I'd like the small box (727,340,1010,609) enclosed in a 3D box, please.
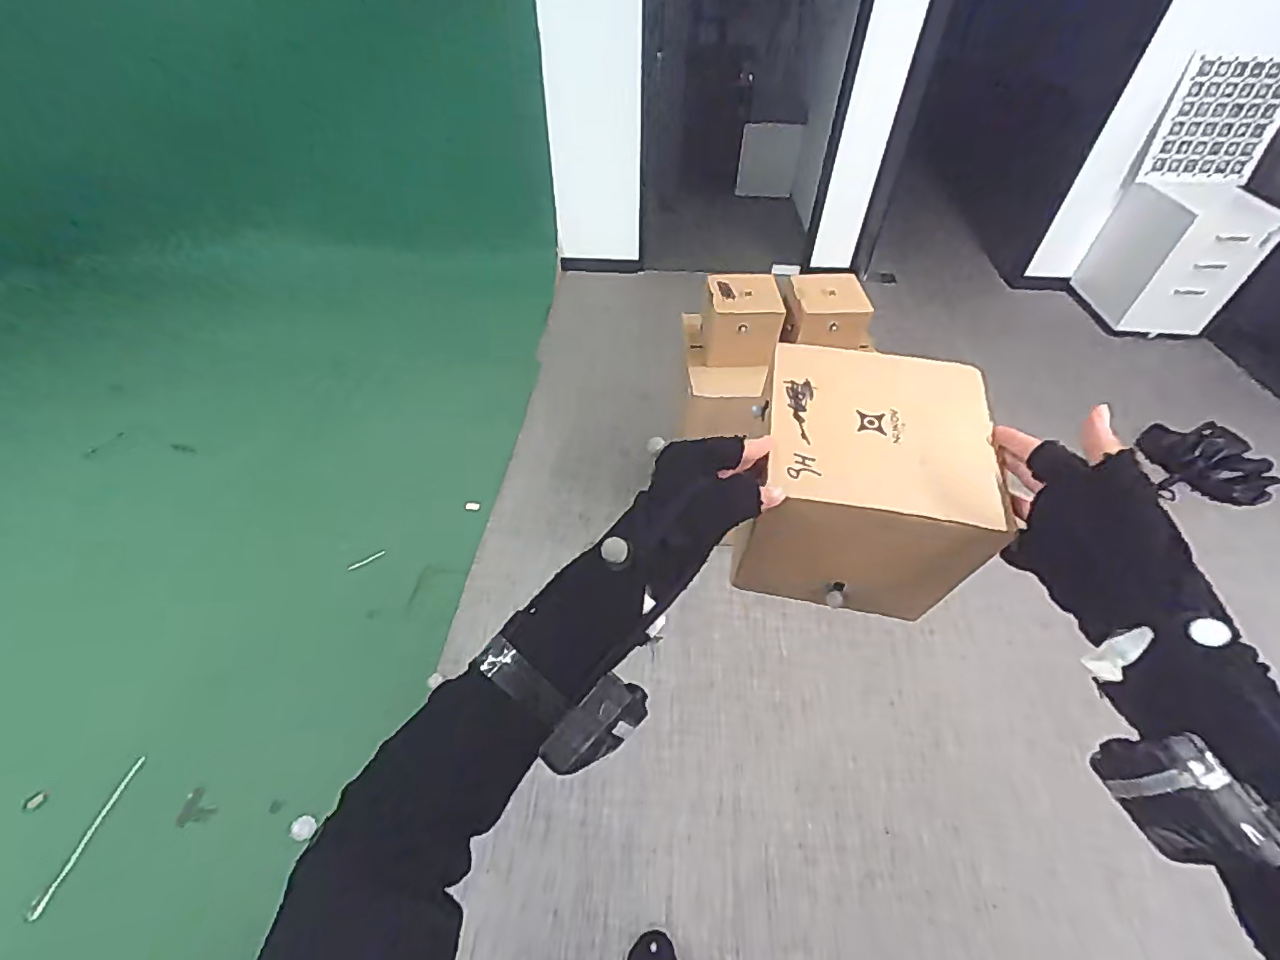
[{"bbox_3d":[0.188,0.002,0.495,0.179,0.176,0.168,10,54,5],"label":"small box"}]

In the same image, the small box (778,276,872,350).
[{"bbox_3d":[0.475,-0.418,1.427,0.179,0.176,0.168,-2,53,-5],"label":"small box"}]

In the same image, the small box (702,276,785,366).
[{"bbox_3d":[0.261,-0.414,1.416,0.179,0.176,0.168,-1,52,-3],"label":"small box"}]
